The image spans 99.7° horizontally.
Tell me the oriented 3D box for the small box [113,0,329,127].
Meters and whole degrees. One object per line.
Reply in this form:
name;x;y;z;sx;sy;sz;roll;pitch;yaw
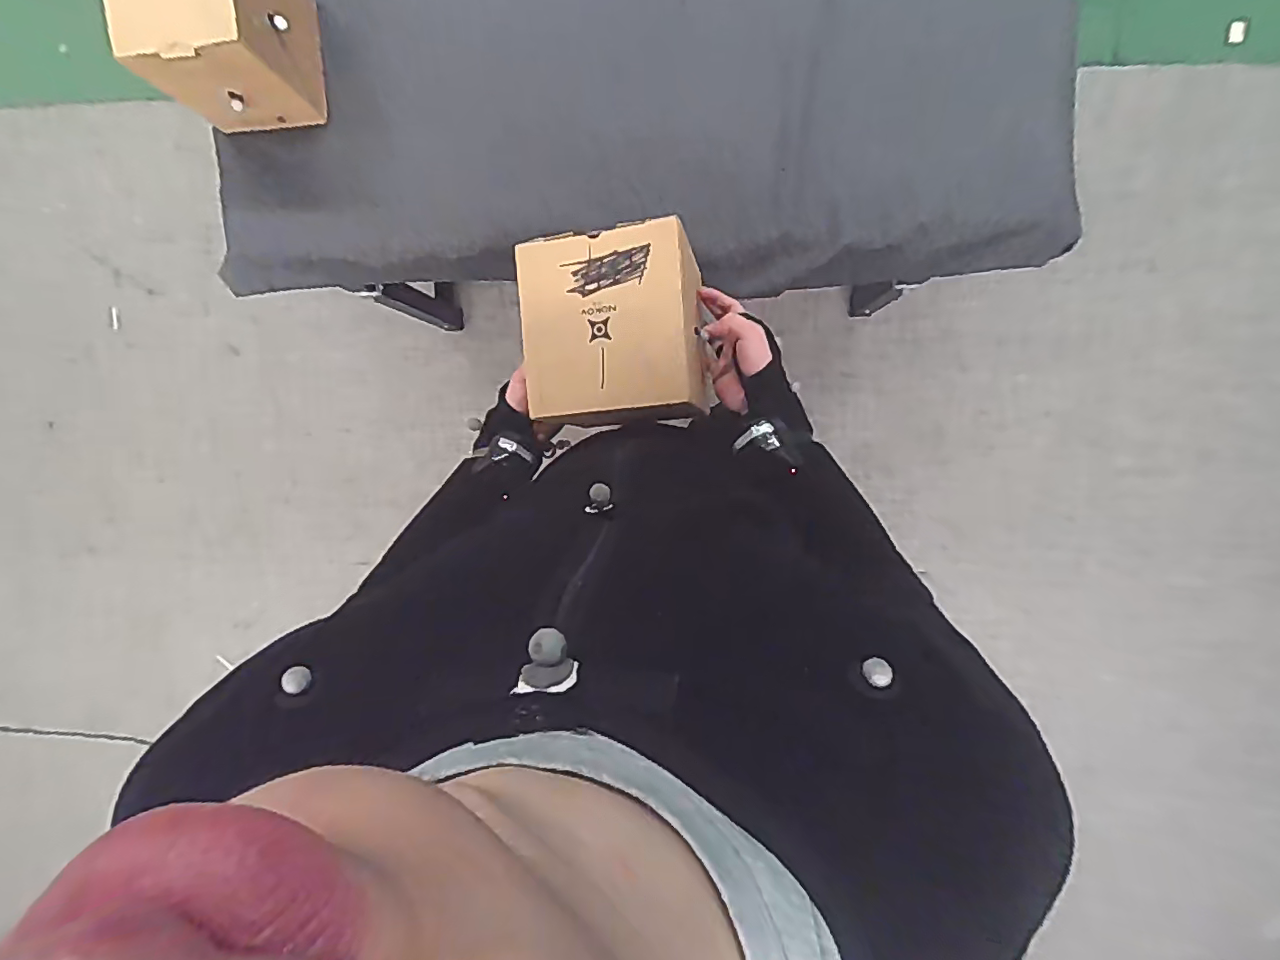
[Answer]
small box;-0.547;-0.602;0.723;0.168;0.176;0.179;-3;96;3
